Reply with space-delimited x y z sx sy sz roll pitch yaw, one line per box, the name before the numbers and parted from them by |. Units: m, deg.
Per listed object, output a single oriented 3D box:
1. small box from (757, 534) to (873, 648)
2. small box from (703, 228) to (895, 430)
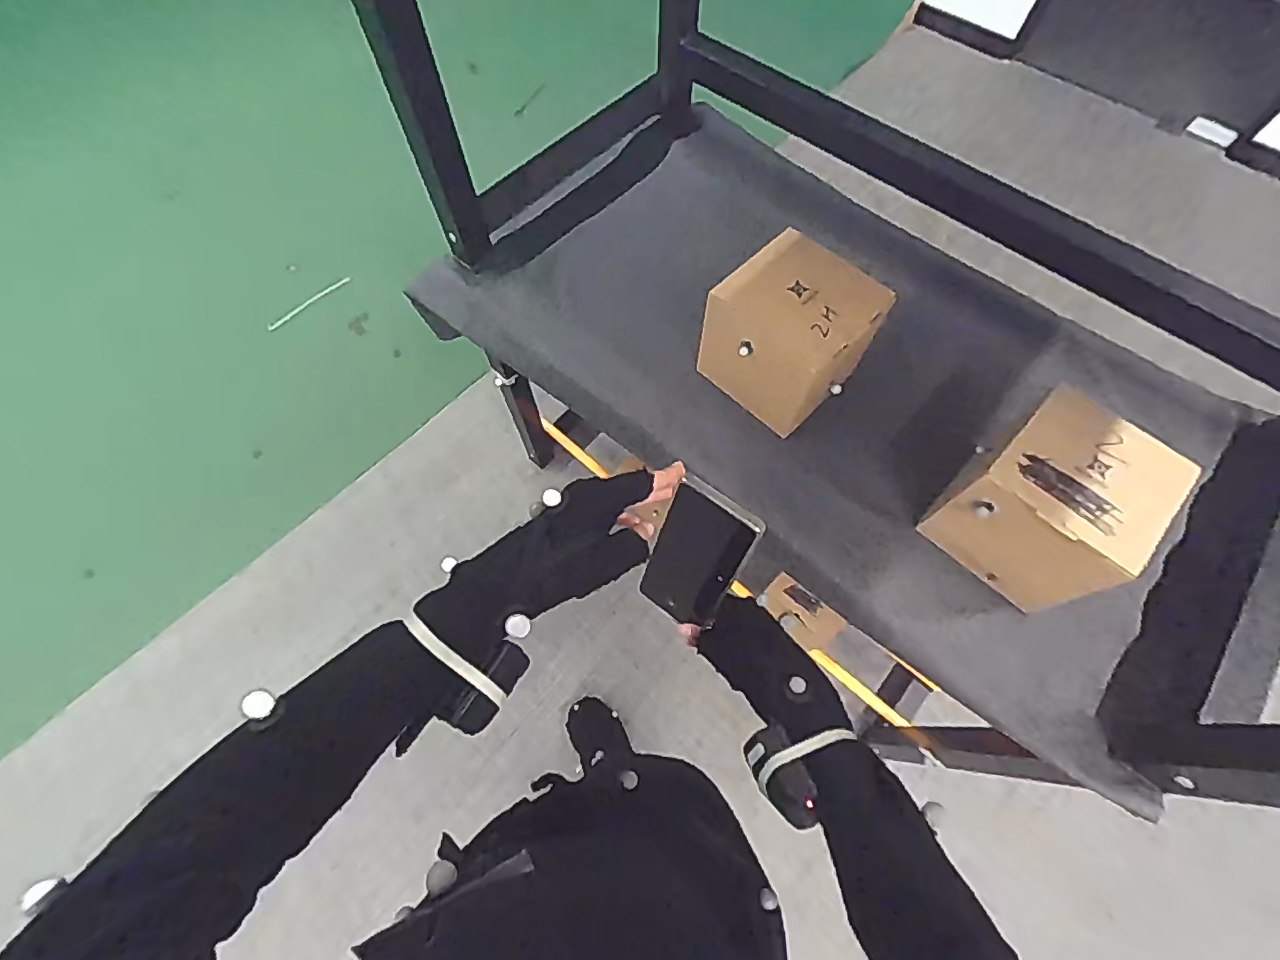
small box | 0.386 0.260 1.231 0.179 0.176 0.168 -42 73 -17
small box | 0.206 -0.203 0.756 0.179 0.176 0.168 42 72 17
